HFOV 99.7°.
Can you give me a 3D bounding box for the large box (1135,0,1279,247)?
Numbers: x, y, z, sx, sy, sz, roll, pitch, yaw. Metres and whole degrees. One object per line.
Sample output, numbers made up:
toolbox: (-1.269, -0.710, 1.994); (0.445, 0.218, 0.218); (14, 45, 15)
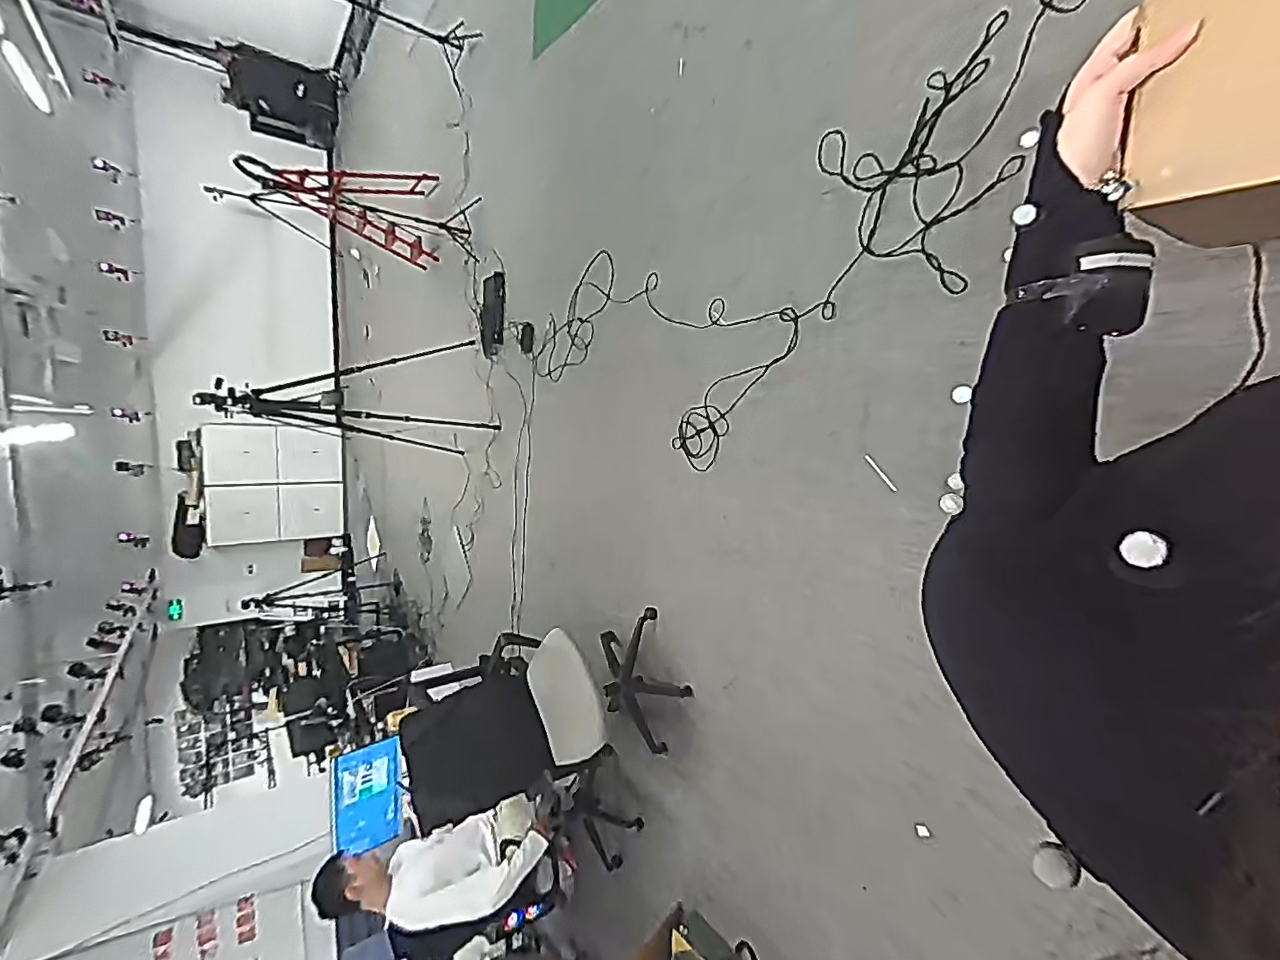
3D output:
large box: (0.609, -0.348, 0.310); (0.408, 0.320, 0.320); (13, 108, 54)
